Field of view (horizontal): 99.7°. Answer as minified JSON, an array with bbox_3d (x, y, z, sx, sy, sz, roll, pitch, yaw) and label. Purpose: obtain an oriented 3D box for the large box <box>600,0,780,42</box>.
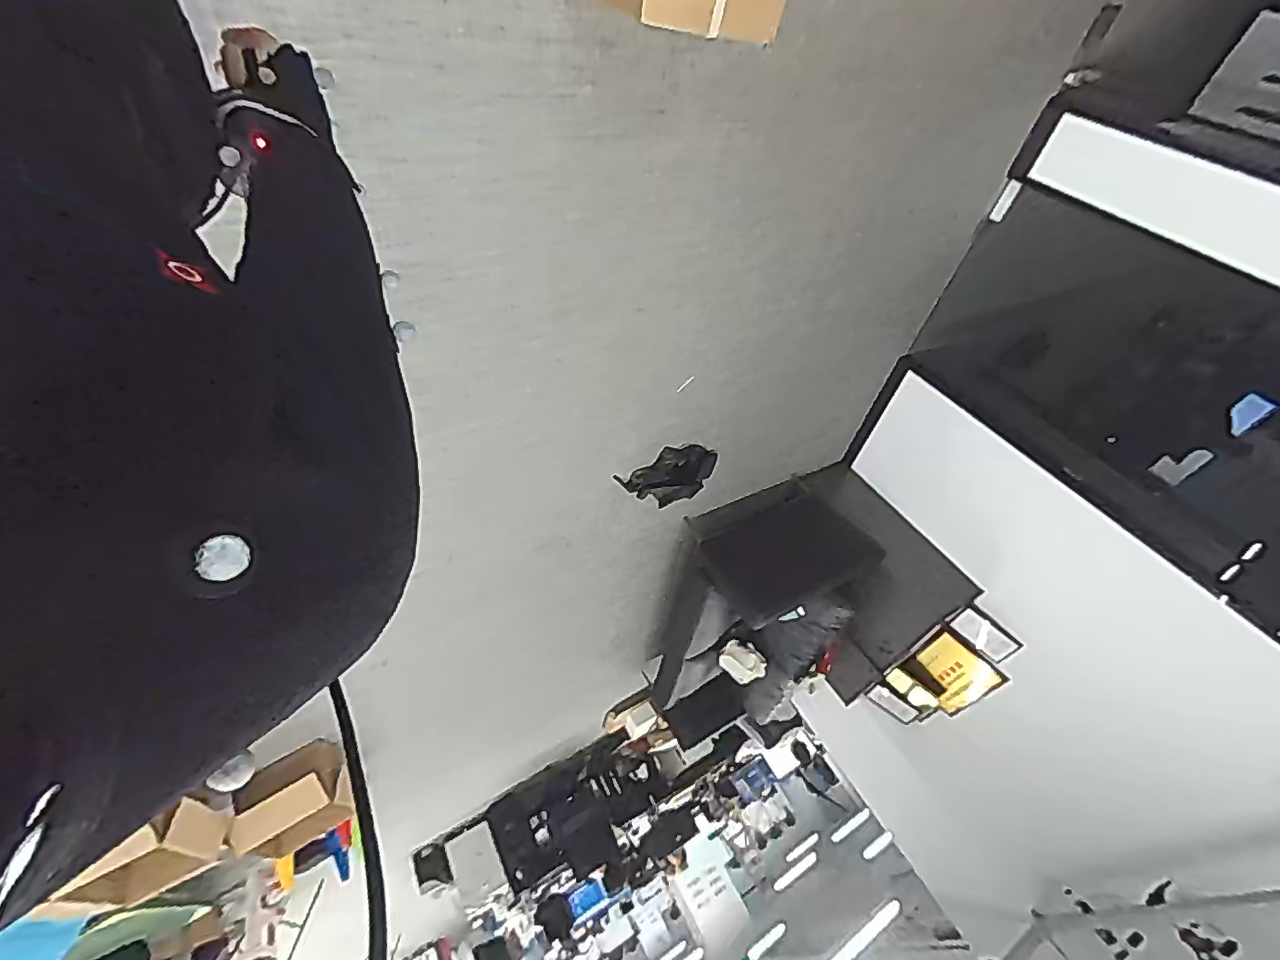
[{"bbox_3d":[0.085,-1.049,0.912,0.320,0.320,0.408,-16,145,-28],"label":"large box"}]
